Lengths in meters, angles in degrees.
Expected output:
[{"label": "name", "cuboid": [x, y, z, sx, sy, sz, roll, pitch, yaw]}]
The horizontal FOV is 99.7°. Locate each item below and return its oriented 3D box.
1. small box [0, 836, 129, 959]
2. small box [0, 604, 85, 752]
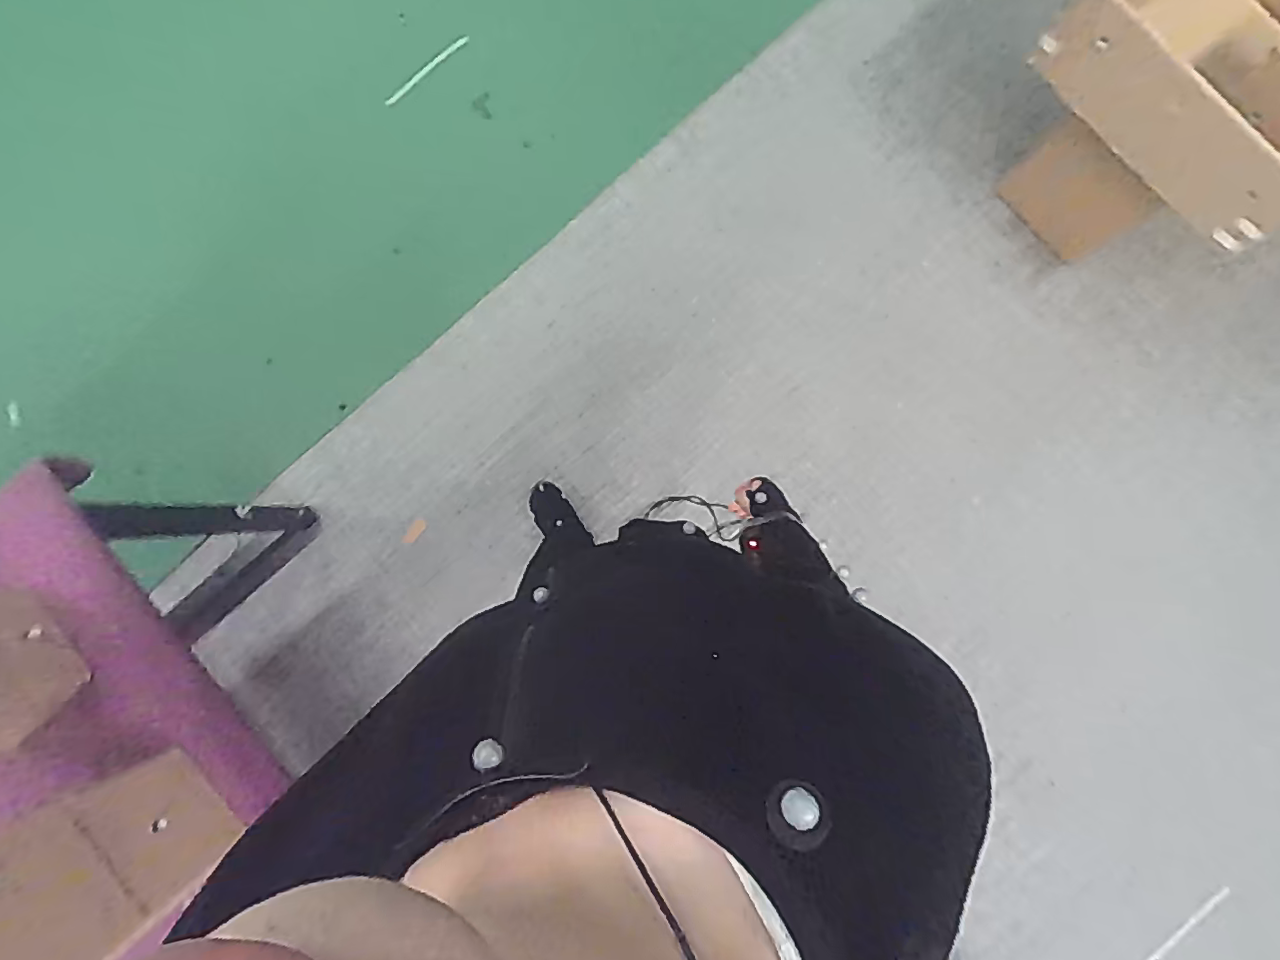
[{"label": "small box", "cuboid": [-0.684, 0.496, 0.530, 0.168, 0.176, 0.179, -41, 86, 1]}, {"label": "small box", "cuboid": [-0.934, 0.284, 0.725, 0.168, 0.176, 0.179, -42, 86, 0]}]
